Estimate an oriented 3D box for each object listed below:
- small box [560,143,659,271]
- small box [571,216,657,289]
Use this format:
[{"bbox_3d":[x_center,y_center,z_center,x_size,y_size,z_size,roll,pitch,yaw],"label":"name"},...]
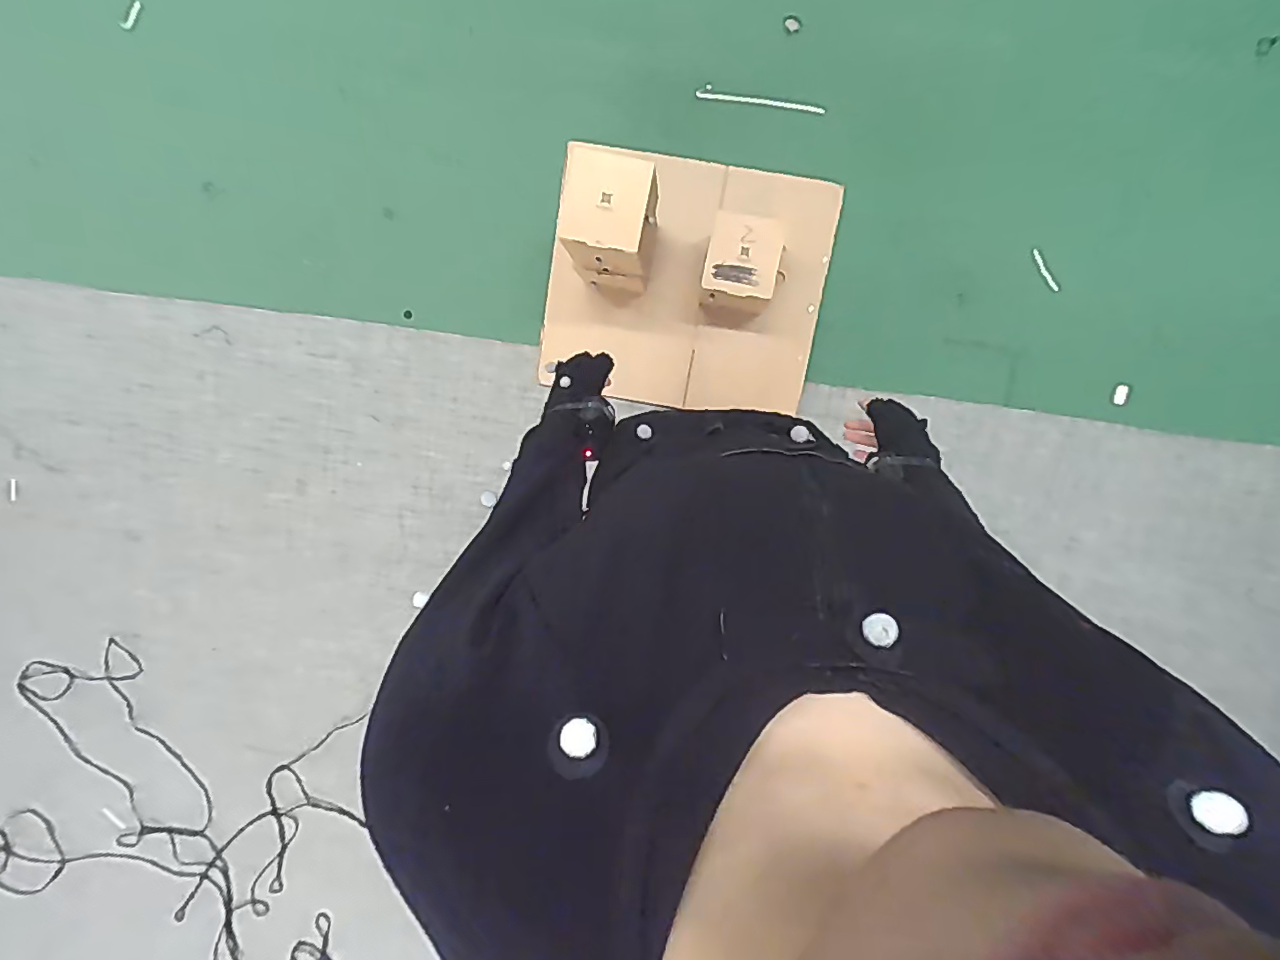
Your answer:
[{"bbox_3d":[-0.058,-0.561,1.133,0.168,0.176,0.179,13,99,2],"label":"small box"},{"bbox_3d":[-0.055,-0.573,1.295,0.168,0.176,0.179,12,98,3],"label":"small box"}]
